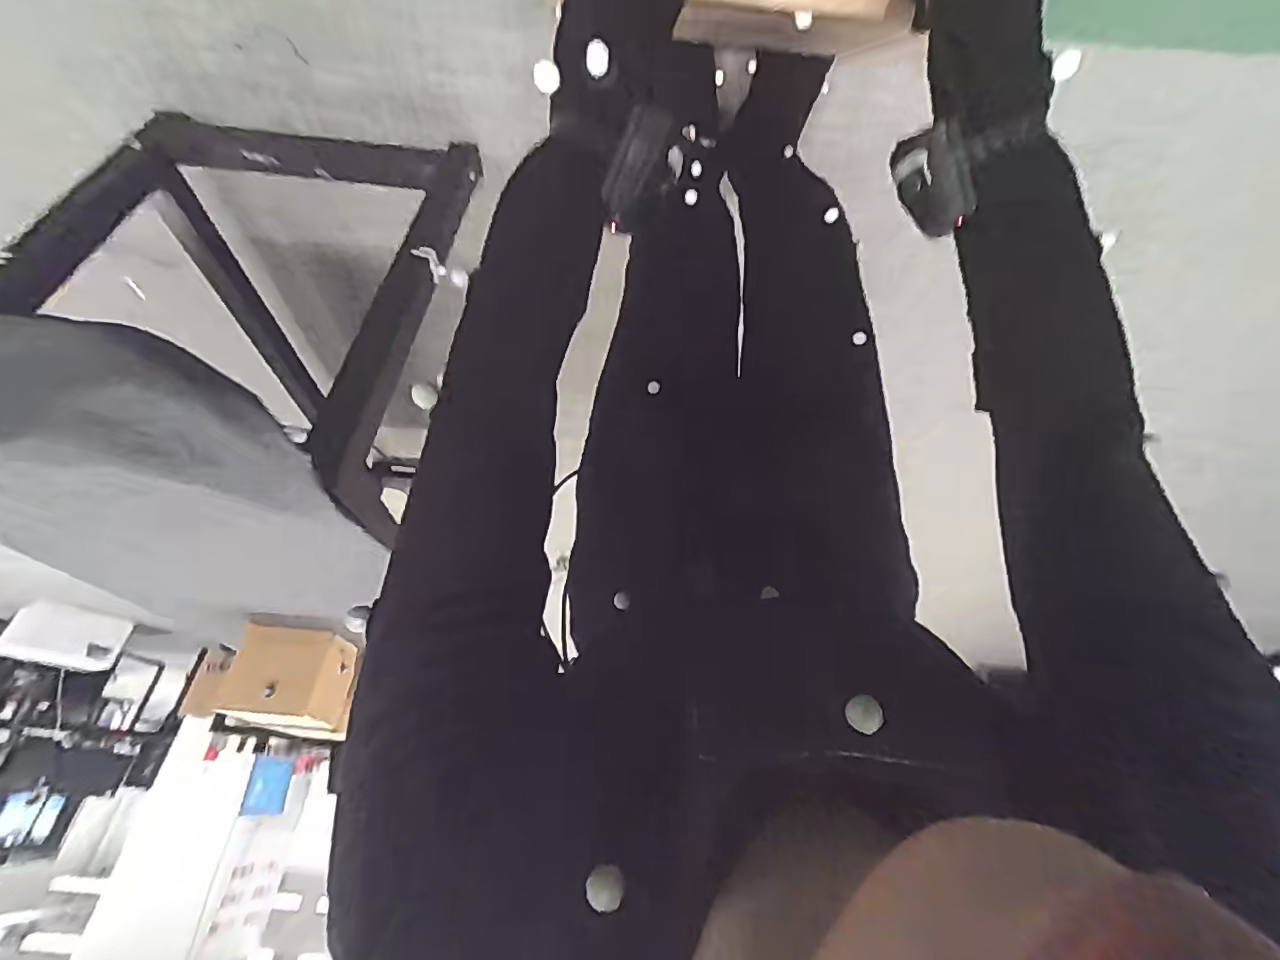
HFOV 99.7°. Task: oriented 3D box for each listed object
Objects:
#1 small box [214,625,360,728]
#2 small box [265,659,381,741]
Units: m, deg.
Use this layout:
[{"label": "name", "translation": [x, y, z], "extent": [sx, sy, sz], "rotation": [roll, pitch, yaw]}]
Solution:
[{"label": "small box", "translation": [-0.726, 0.412, 1.136], "extent": [0.179, 0.176, 0.168], "rotation": [5, 147, -3]}, {"label": "small box", "translation": [-0.766, 0.538, 1.336], "extent": [0.179, 0.176, 0.168], "rotation": [5, 148, 1]}]
